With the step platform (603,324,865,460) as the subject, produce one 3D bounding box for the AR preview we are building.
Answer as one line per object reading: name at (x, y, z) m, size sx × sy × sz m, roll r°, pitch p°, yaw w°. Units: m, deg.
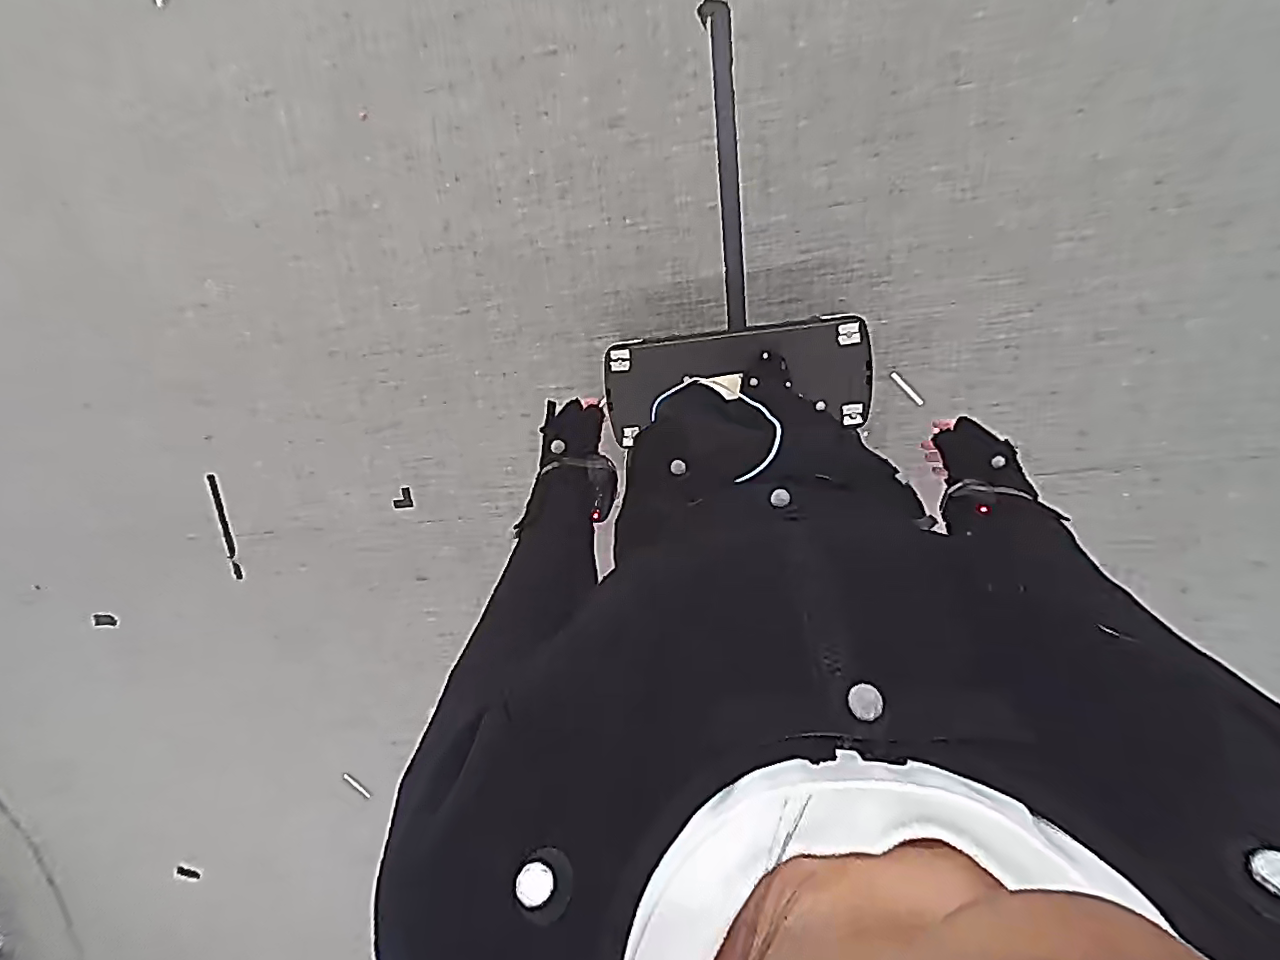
step platform at (0.241, -0.233, 1.462) m, size 0.684 × 0.204 × 0.286 m, roll -6°, pitch 105°, yaw 10°
